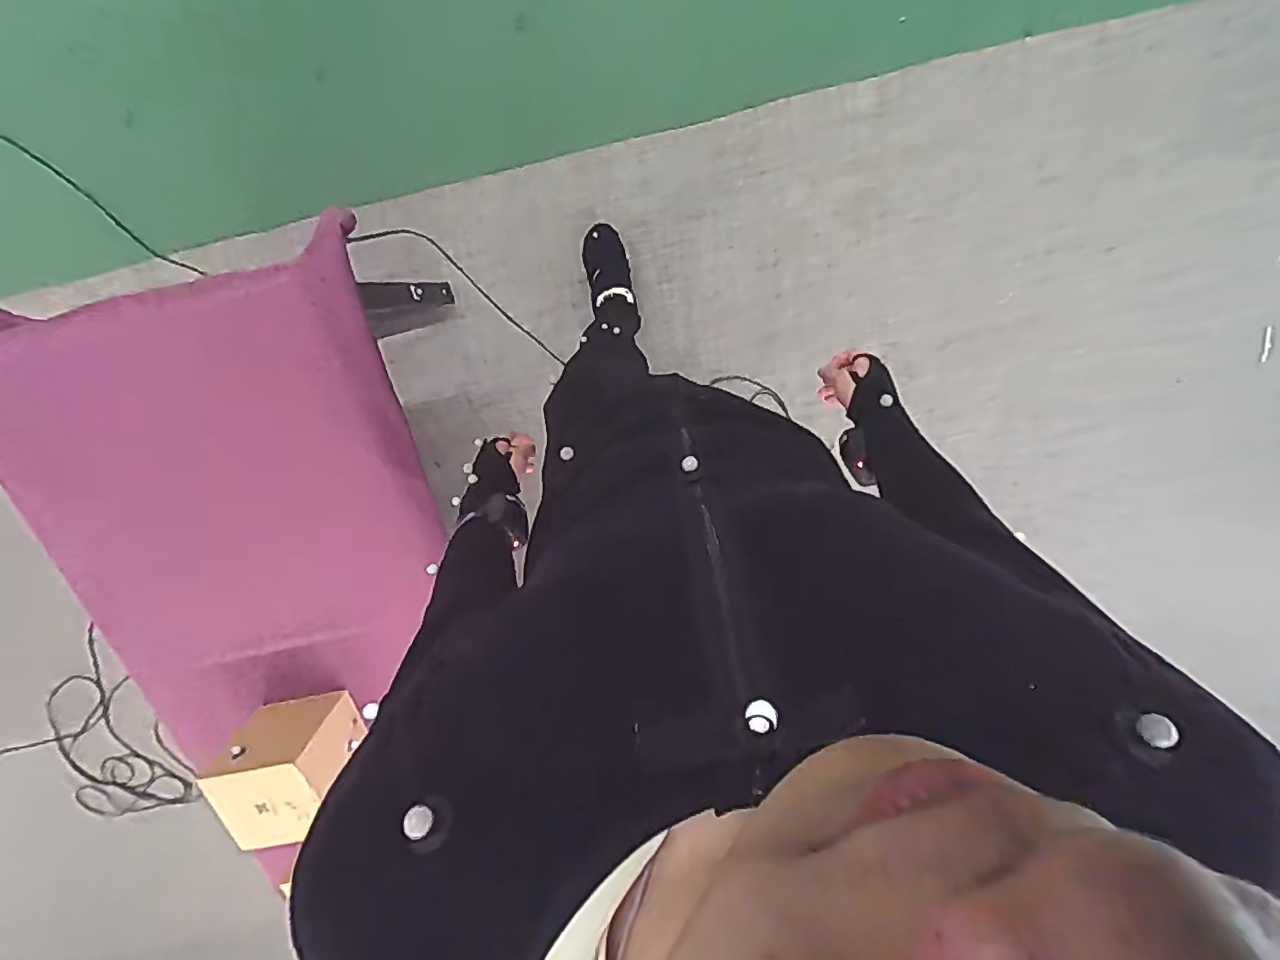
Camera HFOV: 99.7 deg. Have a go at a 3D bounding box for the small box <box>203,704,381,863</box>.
[{"bbox_3d":[-0.599,0.528,0.957,0.179,0.176,0.168,-12,109,3],"label":"small box"}]
